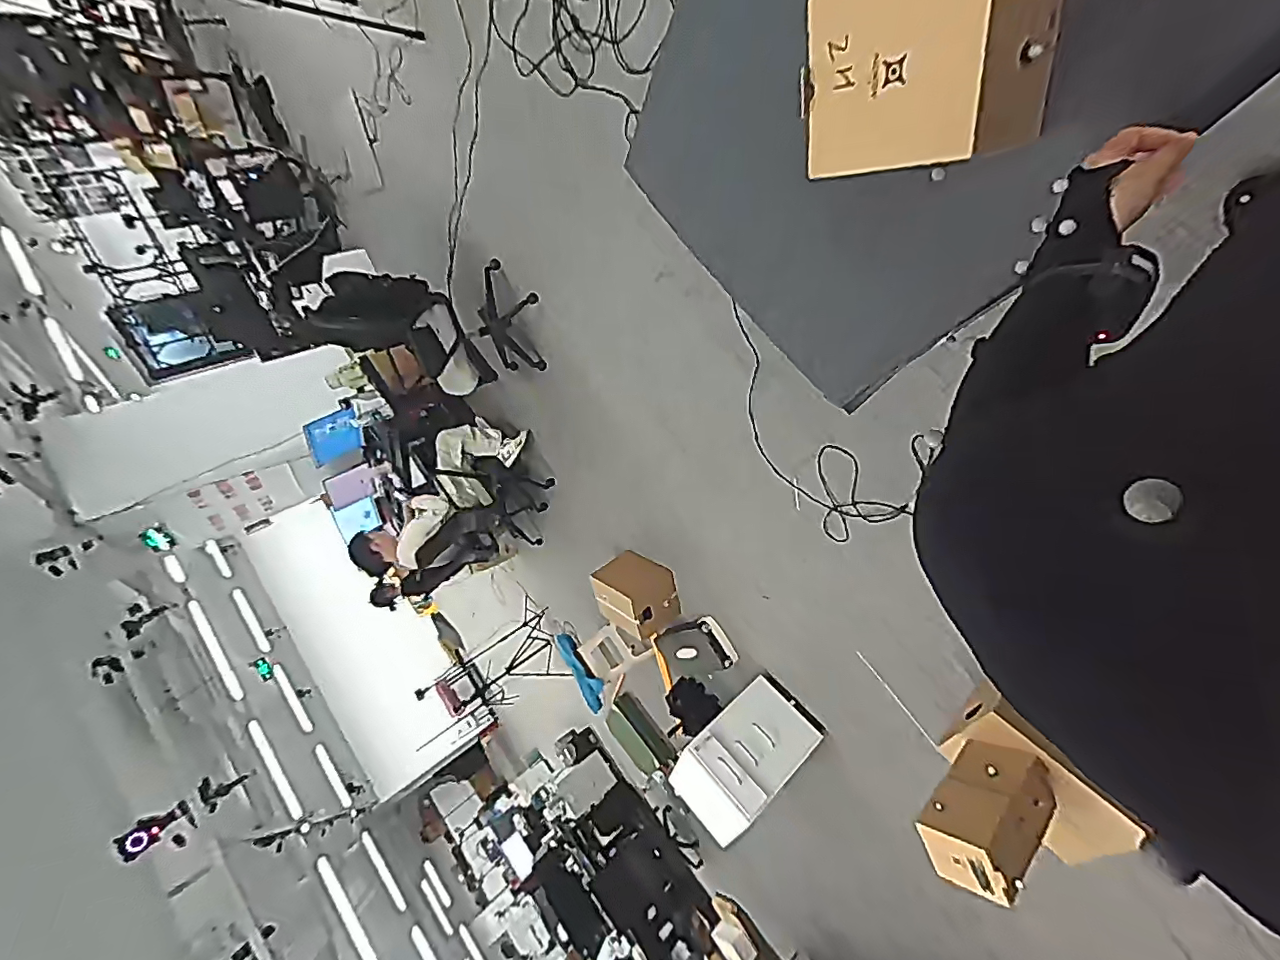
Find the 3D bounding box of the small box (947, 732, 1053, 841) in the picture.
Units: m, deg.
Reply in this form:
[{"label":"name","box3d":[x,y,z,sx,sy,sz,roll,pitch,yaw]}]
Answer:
[{"label":"small box","box3d":[0.973,0.810,1.452,0.179,0.176,0.168,-17,101,56]}]

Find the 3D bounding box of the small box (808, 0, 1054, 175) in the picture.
[{"label":"small box","box3d":[0.295,-0.426,0.556,0.179,0.176,0.168,24,133,45]}]
